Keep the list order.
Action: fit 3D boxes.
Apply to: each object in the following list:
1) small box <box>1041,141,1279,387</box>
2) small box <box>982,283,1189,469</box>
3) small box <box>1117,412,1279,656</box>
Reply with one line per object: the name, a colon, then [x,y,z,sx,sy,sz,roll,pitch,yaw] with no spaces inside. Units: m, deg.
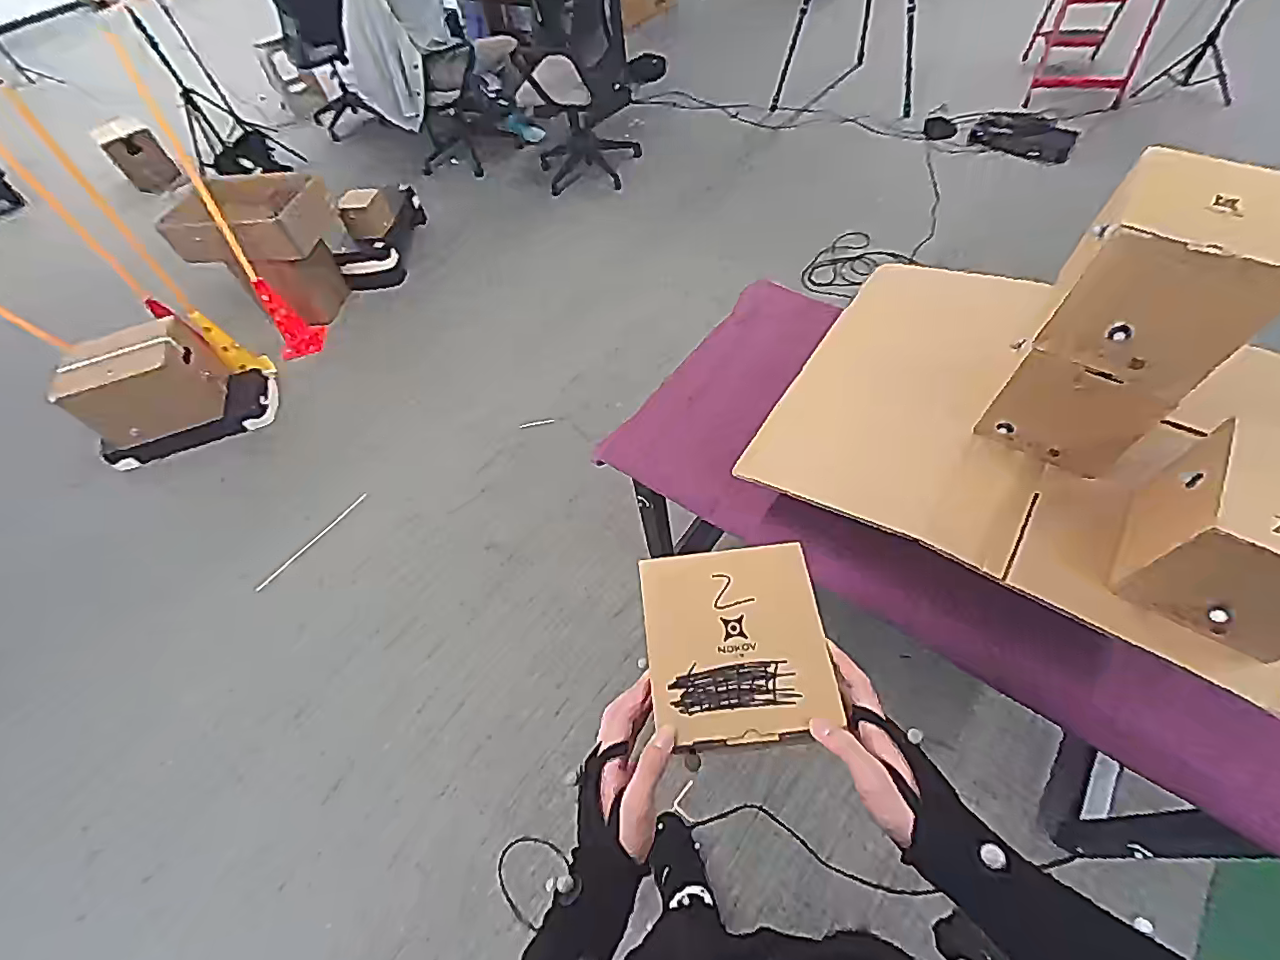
small box: [0.601,-0.239,0.614,0.168,0.176,0.179,28,65,20]
small box: [0.610,-0.146,0.747,0.168,0.176,0.179,29,64,20]
small box: [0.691,0.064,0.607,0.168,0.176,0.179,29,65,22]
